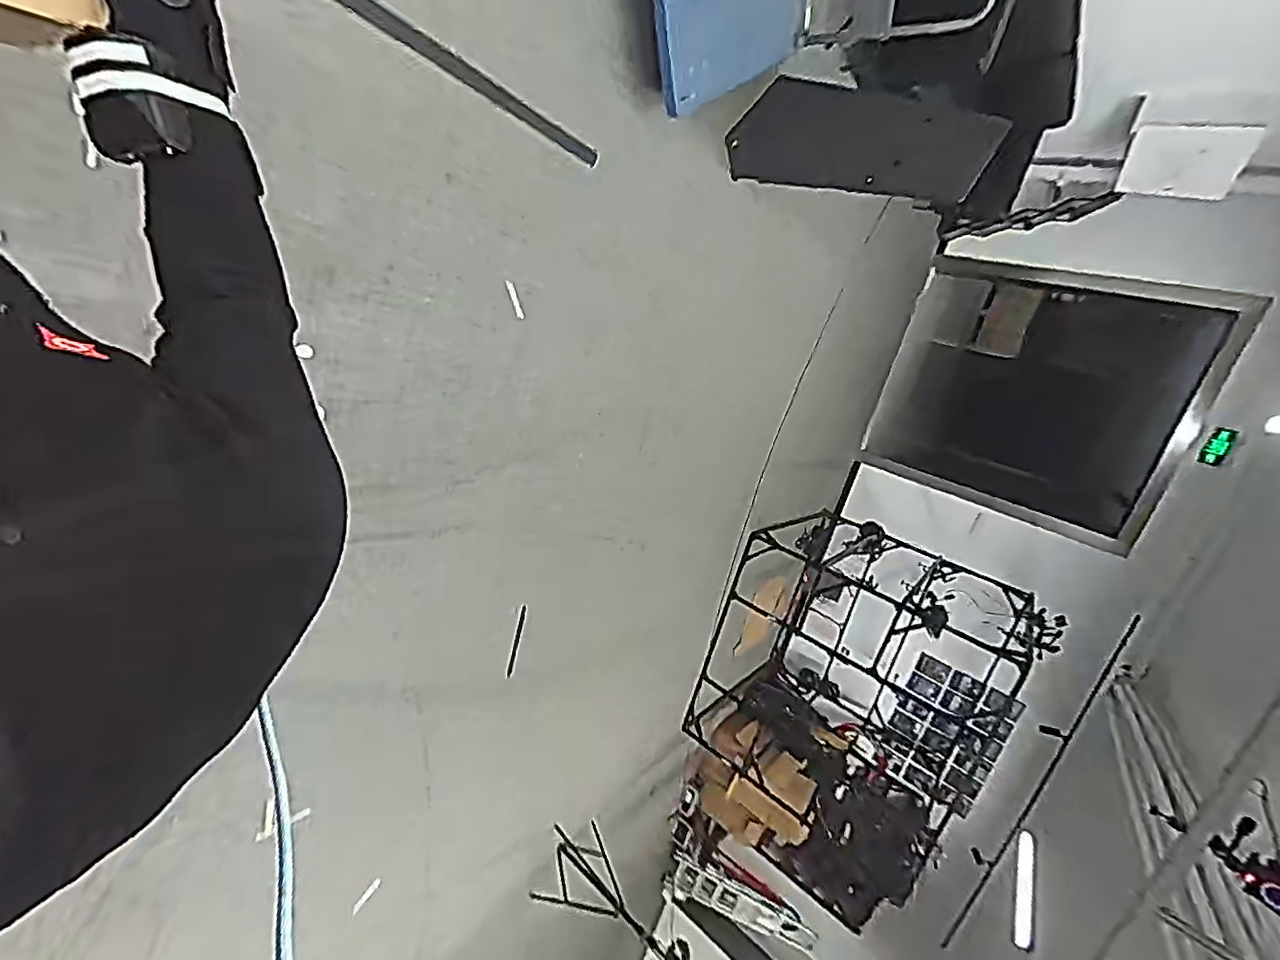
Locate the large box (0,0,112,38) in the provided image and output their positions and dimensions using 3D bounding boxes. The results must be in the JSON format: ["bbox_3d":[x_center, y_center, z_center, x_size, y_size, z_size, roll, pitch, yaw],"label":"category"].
[{"bbox_3d":[-0.568,-0.465,0.237,0.408,0.320,0.320,-17,127,-51],"label":"large box"}]
